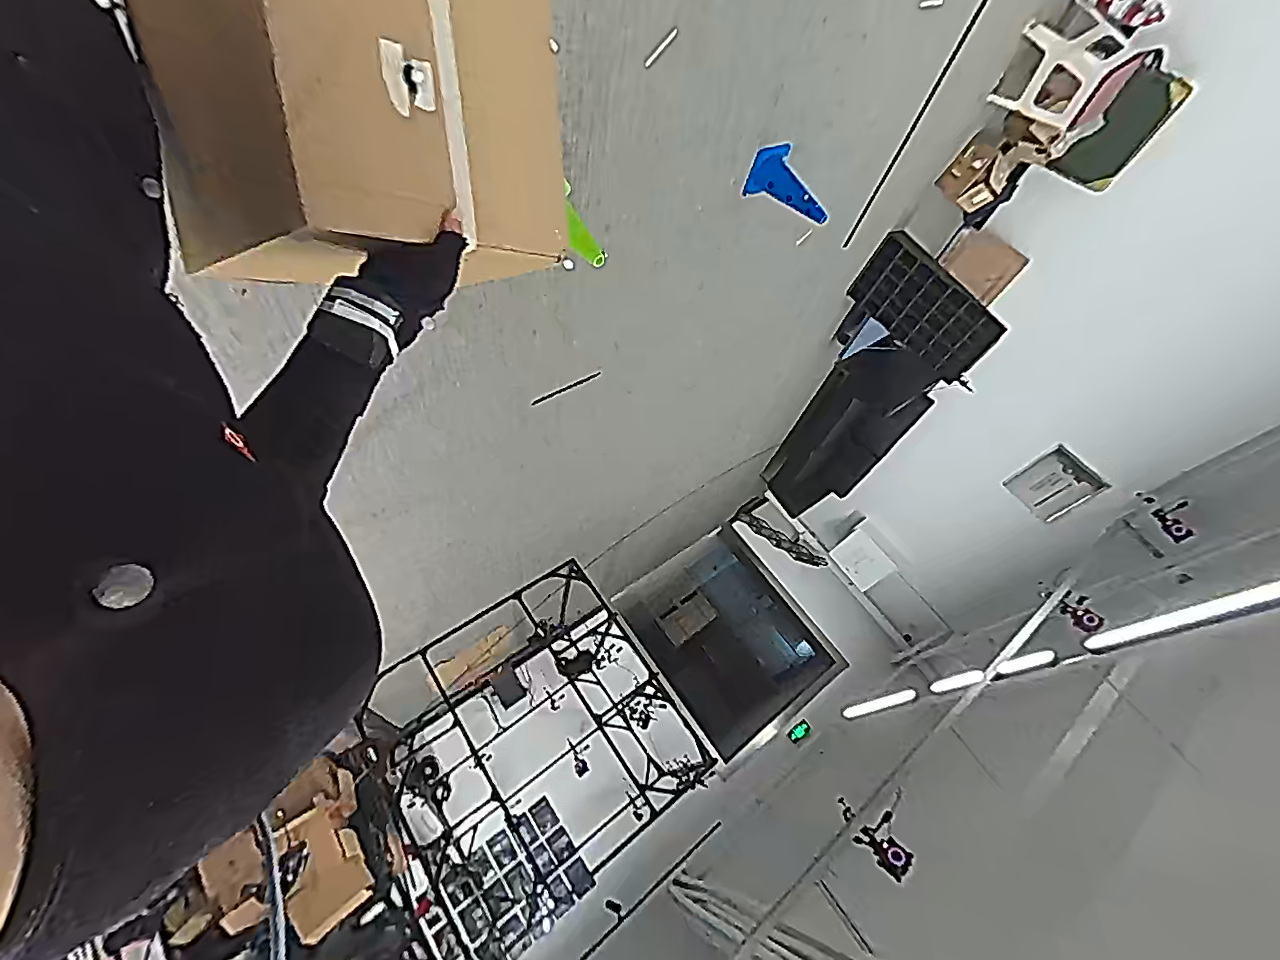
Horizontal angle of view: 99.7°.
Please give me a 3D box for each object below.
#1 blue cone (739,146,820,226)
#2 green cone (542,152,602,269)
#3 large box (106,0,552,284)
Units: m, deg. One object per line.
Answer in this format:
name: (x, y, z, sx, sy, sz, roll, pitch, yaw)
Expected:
blue cone: (0.608, -1.189, 2.238, 0.193, 0.380, 0.192, -28, 160, -29)
green cone: (-0.236, -0.761, 1.616, 0.200, 0.368, 0.202, -41, 163, 10)
large box: (-0.332, -0.451, 0.601, 0.320, 0.320, 0.408, -22, 114, -51)
